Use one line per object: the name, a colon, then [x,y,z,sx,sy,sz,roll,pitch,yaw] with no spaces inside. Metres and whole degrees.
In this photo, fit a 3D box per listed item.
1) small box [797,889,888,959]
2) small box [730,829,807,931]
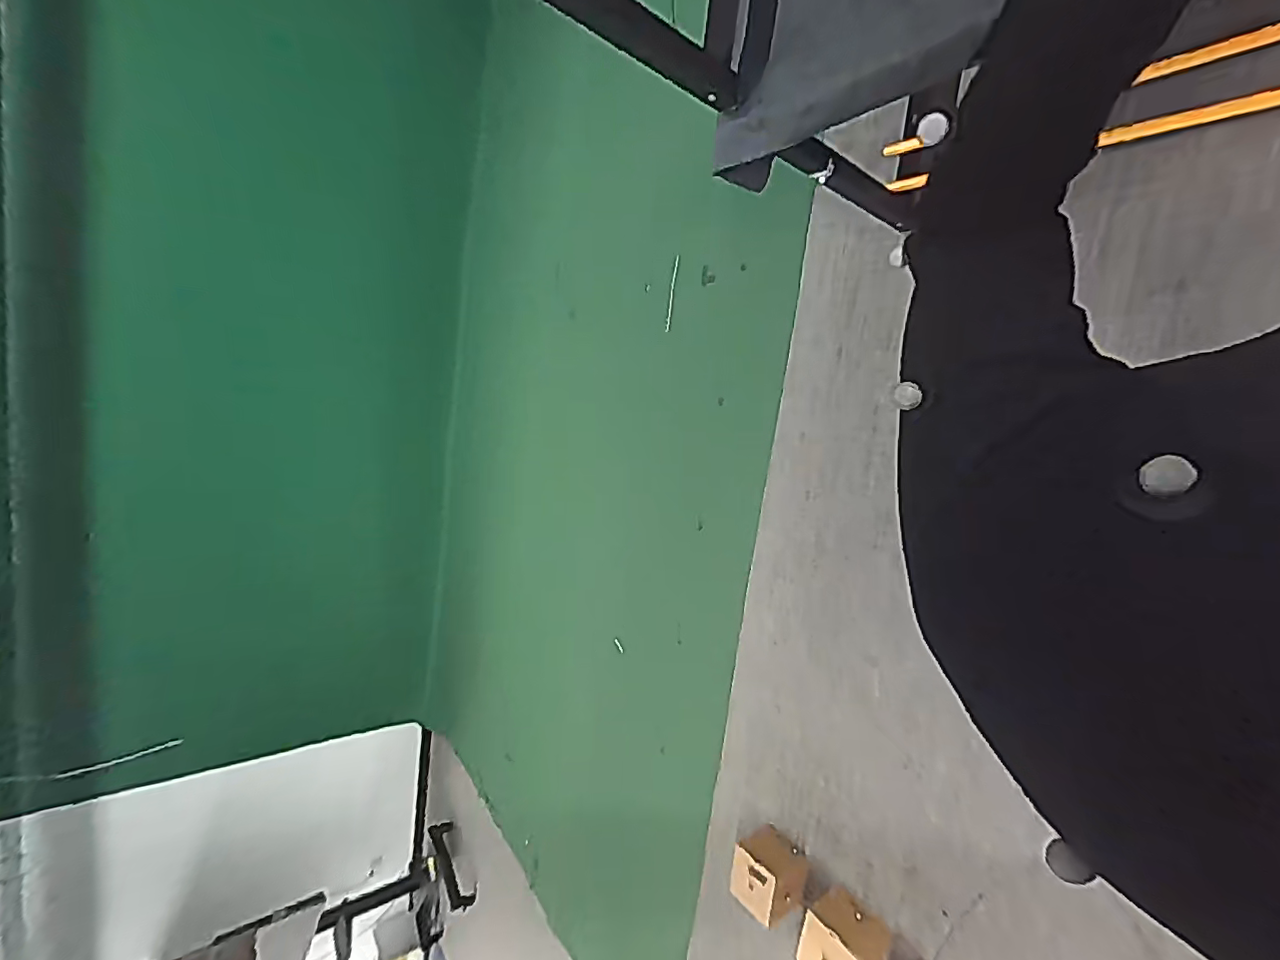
small box: [0.579,1.332,1.540,0.168,0.176,0.179,20,103,51]
small box: [0.417,1.281,1.749,0.168,0.176,0.179,15,100,51]
